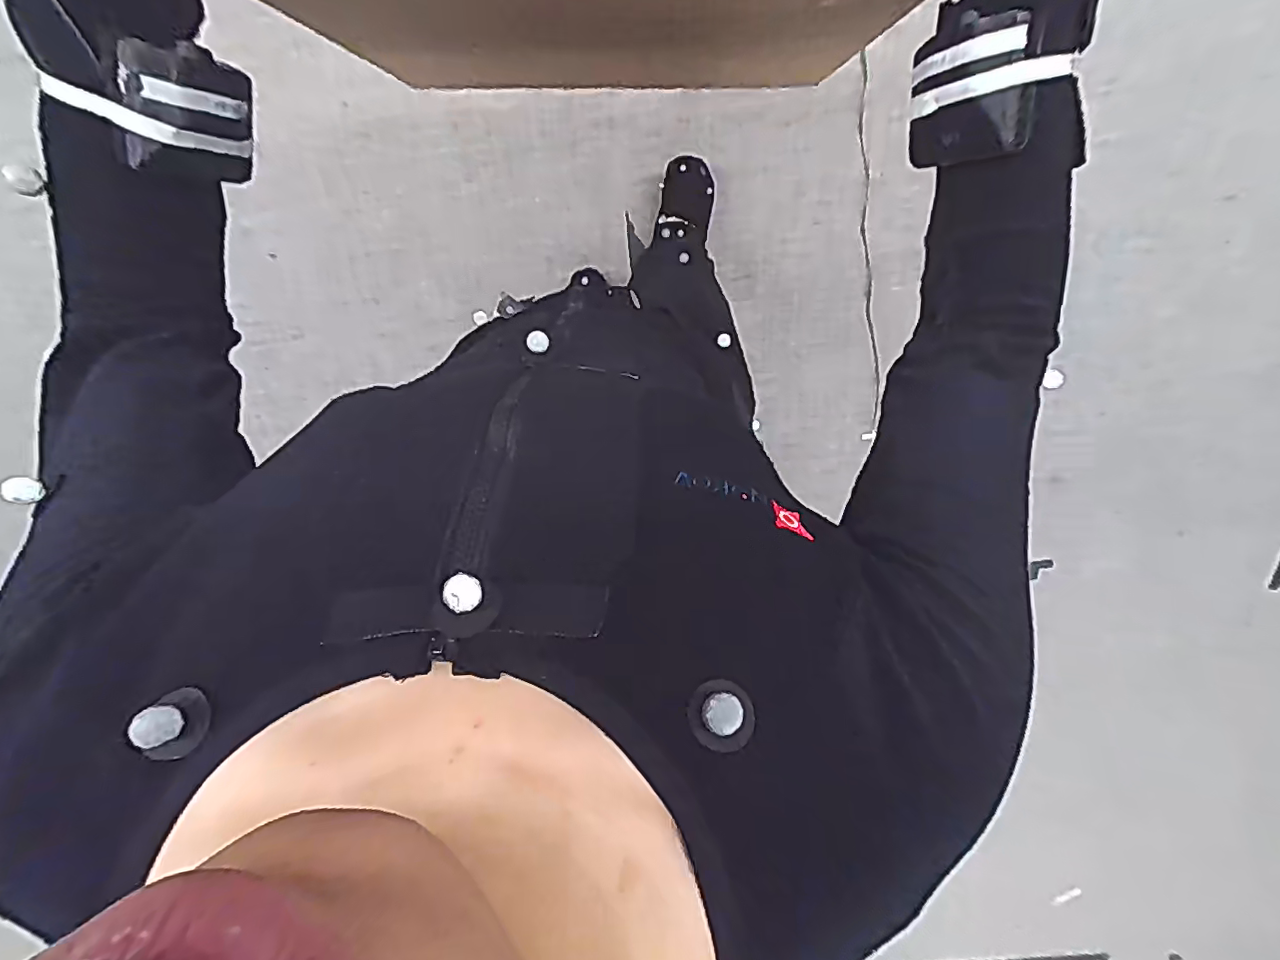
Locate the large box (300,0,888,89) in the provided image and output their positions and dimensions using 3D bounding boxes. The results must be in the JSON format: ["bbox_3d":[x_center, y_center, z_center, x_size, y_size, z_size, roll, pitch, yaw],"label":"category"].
[{"bbox_3d":[-0.028,-0.472,0.339,0.408,0.320,0.320,-1,115,0],"label":"large box"}]
